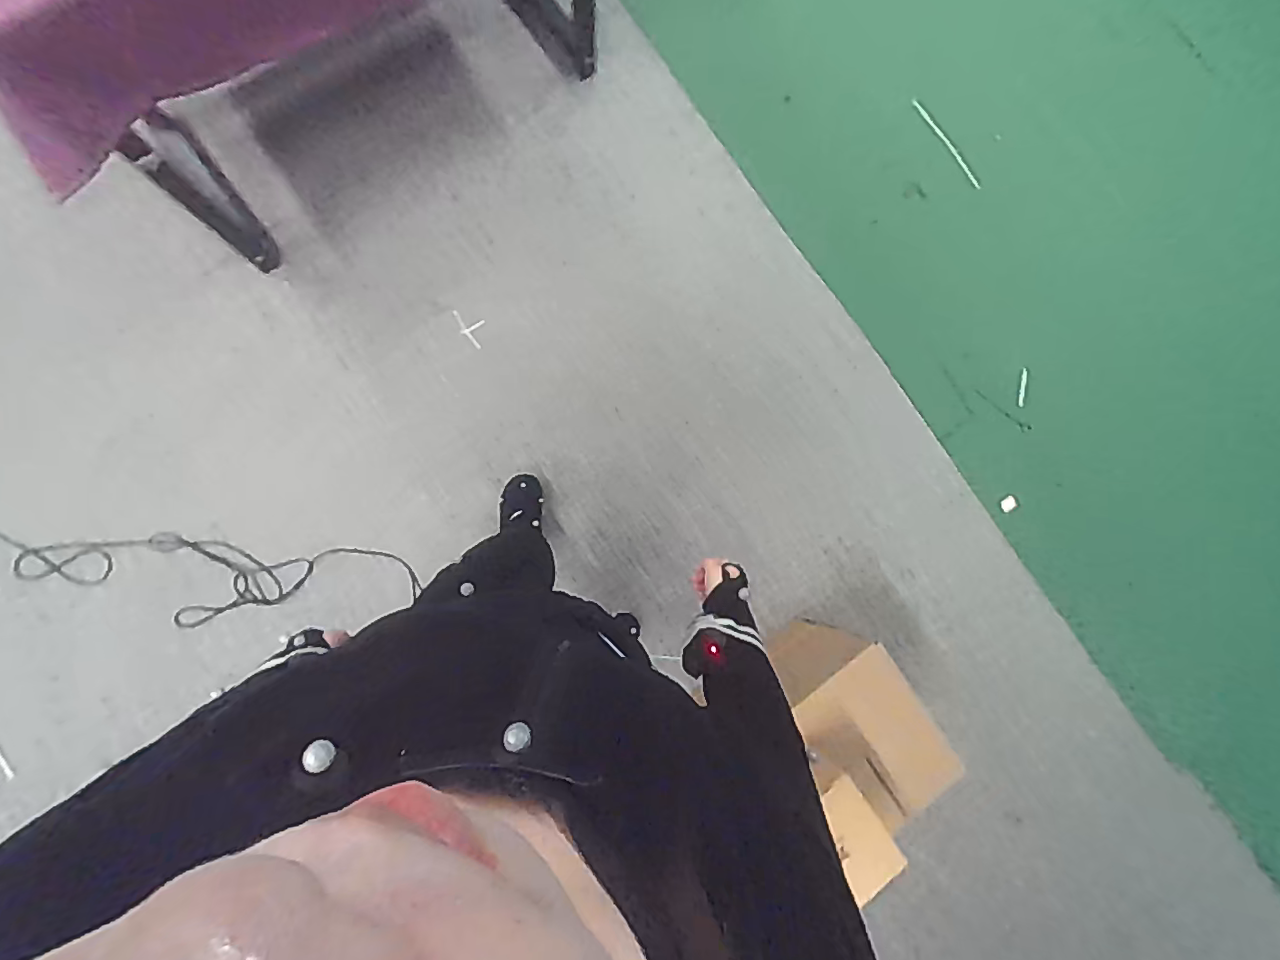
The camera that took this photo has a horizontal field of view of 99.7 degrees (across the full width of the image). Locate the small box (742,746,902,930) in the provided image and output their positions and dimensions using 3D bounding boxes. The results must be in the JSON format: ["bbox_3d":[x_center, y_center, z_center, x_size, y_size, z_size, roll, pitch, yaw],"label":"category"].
[{"bbox_3d":[0.309,0.611,0.952,0.168,0.176,0.179,-34,87,-9],"label":"small box"}]
